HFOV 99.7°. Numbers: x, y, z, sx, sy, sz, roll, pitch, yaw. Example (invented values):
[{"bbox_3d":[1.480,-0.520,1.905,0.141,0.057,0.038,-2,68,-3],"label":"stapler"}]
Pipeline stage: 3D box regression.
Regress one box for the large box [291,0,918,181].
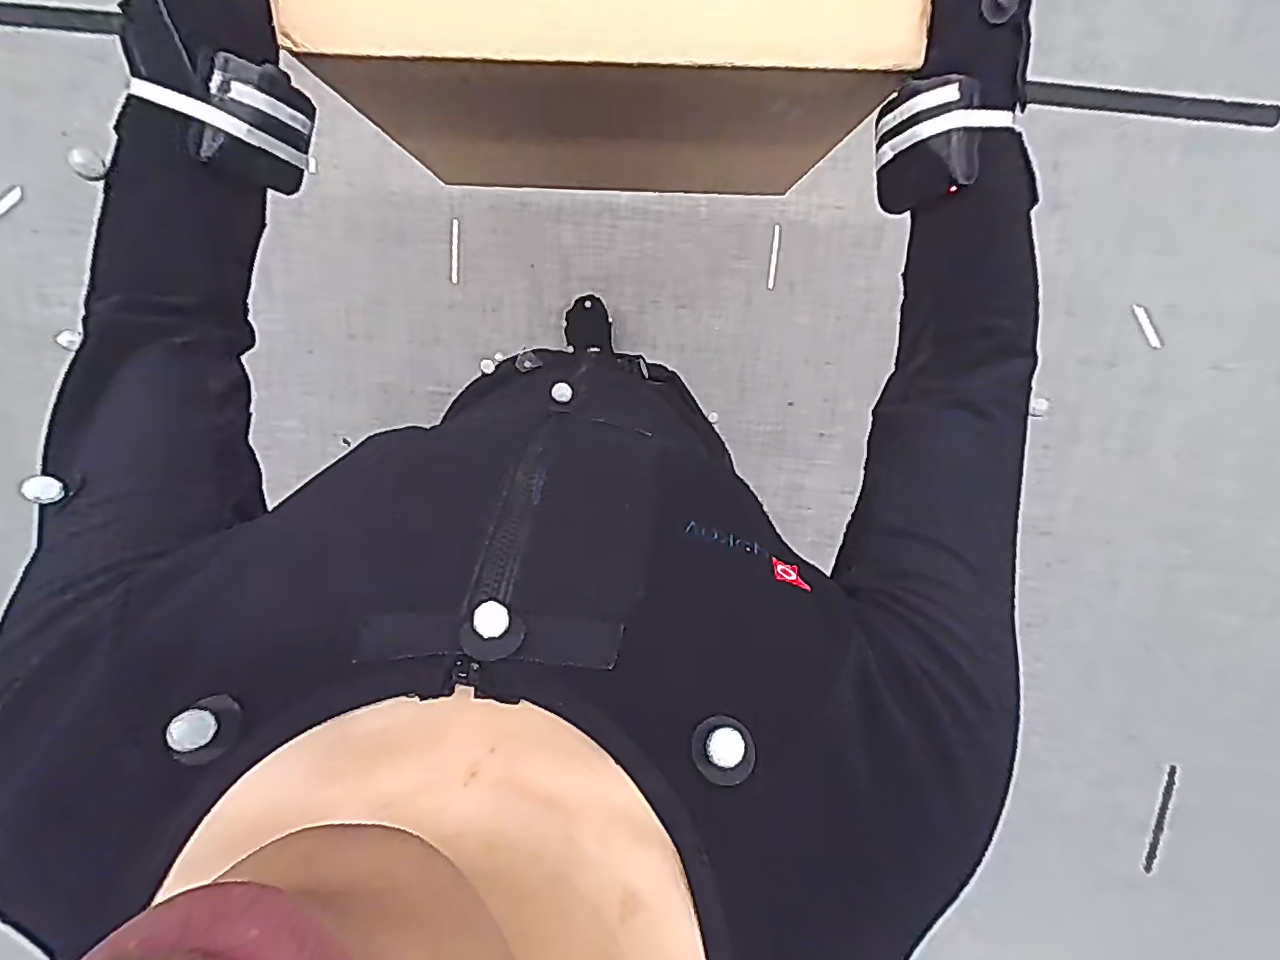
[{"bbox_3d":[-0.025,-0.463,0.454,0.408,0.320,0.320,1,105,-2],"label":"large box"}]
